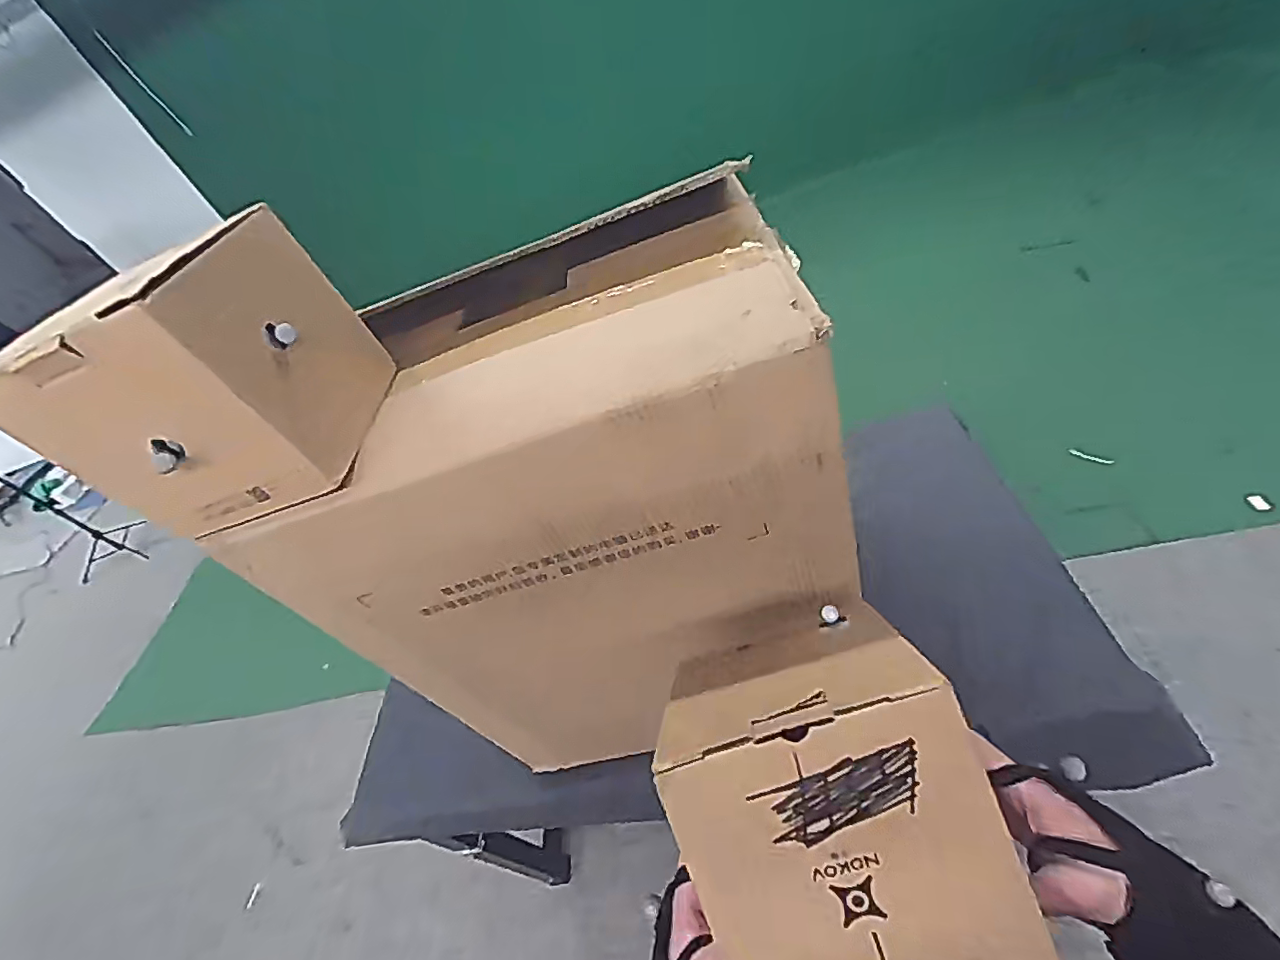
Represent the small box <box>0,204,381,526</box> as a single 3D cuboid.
[{"bbox_3d":[-0.347,-0.082,0.441,0.168,0.176,0.179,-17,44,12],"label":"small box"}]
